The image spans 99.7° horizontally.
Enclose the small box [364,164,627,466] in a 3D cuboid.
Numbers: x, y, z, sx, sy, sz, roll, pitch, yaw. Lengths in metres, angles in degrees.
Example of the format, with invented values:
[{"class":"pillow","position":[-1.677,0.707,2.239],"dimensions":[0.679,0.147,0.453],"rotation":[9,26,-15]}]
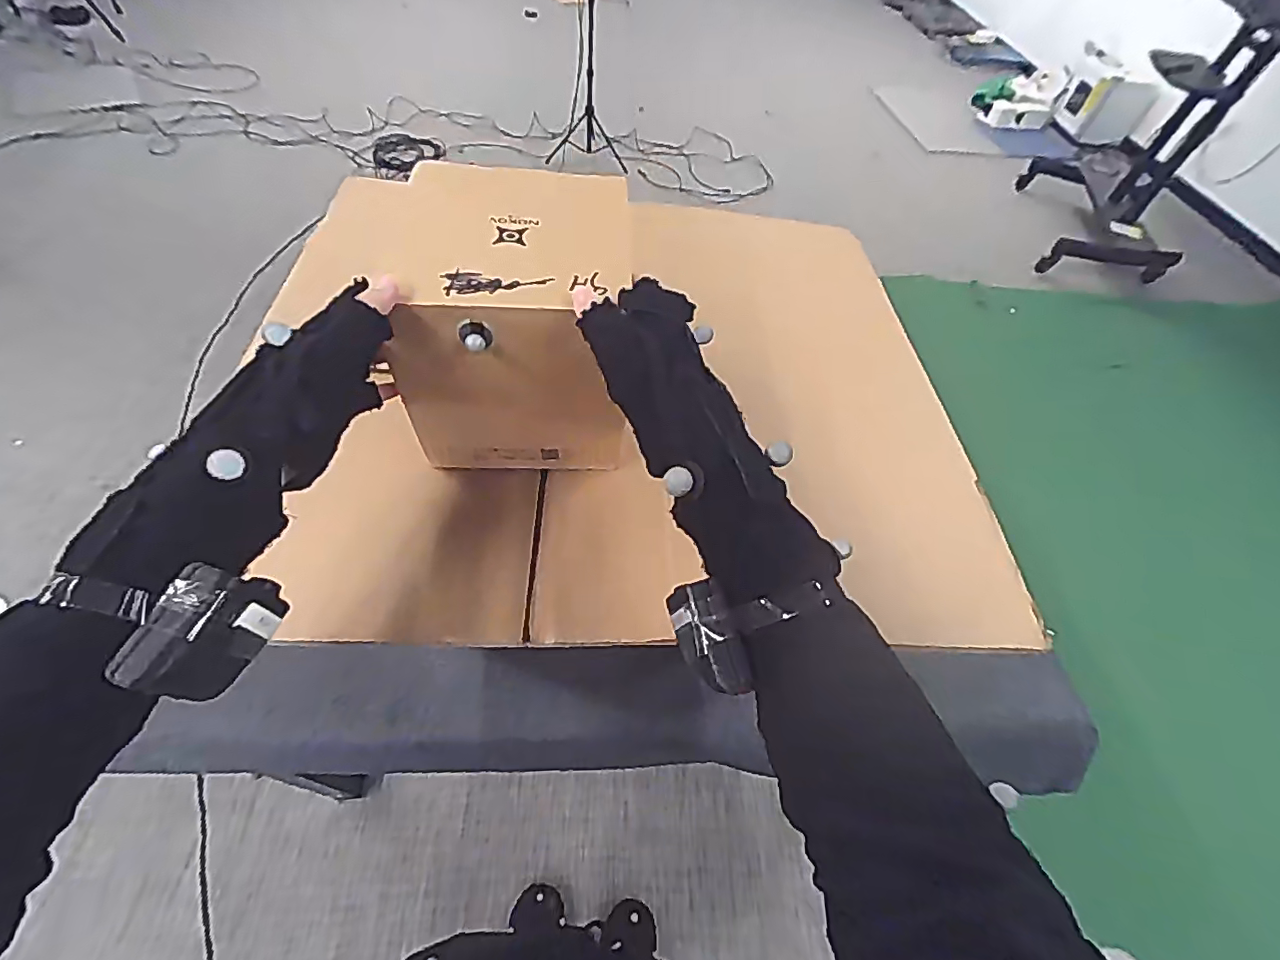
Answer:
[{"class":"small box","position":[-0.098,-0.132,0.451],"dimensions":[0.168,0.176,0.179],"rotation":[1,54,-4]}]
